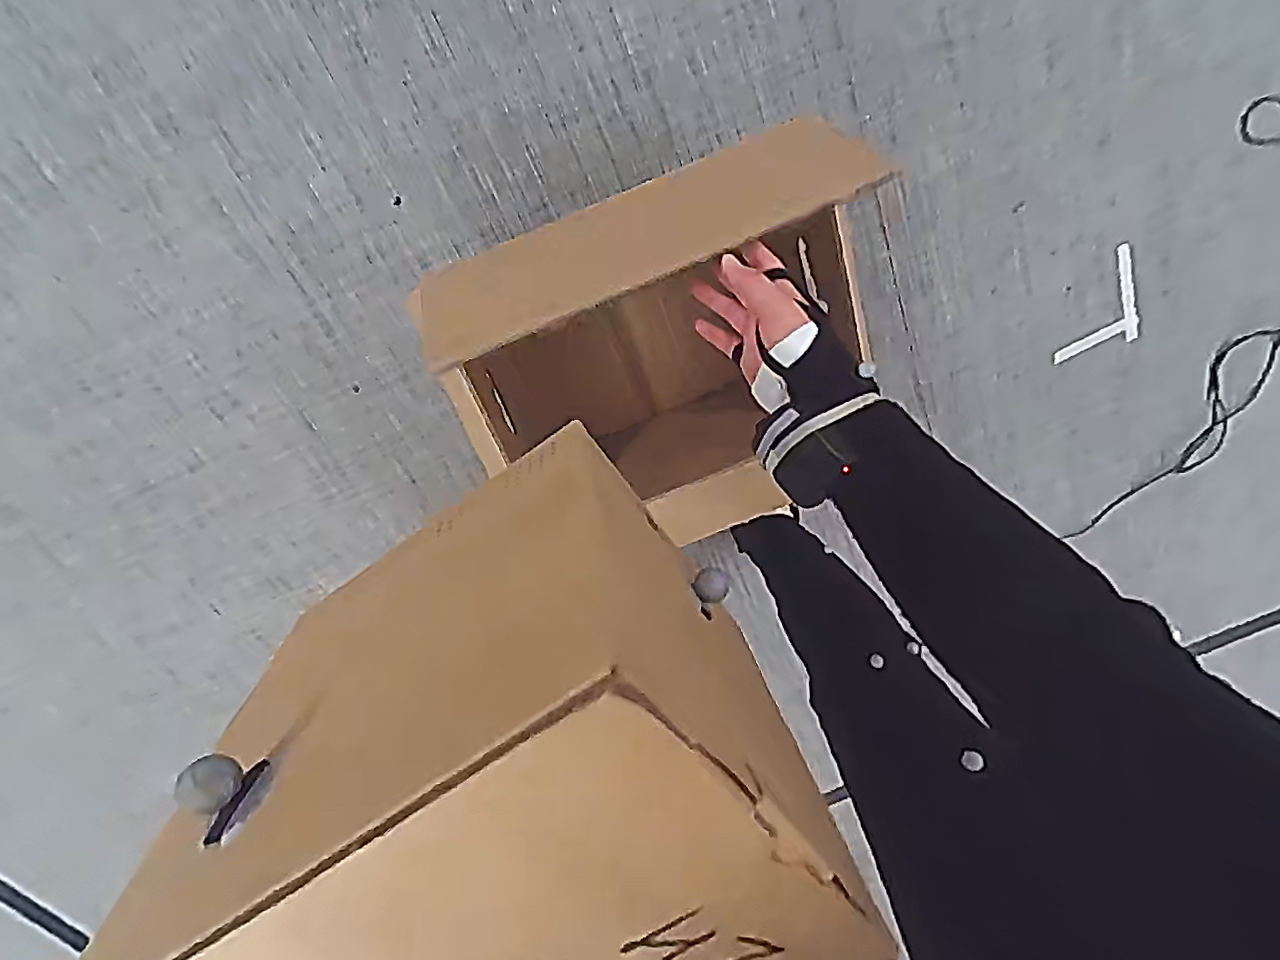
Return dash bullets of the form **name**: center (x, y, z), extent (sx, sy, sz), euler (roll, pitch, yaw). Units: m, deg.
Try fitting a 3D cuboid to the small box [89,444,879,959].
- **small box**: center (-0.045, 0.114, 0.231), extent (0.179, 0.176, 0.168), euler (-35, 115, 5)
